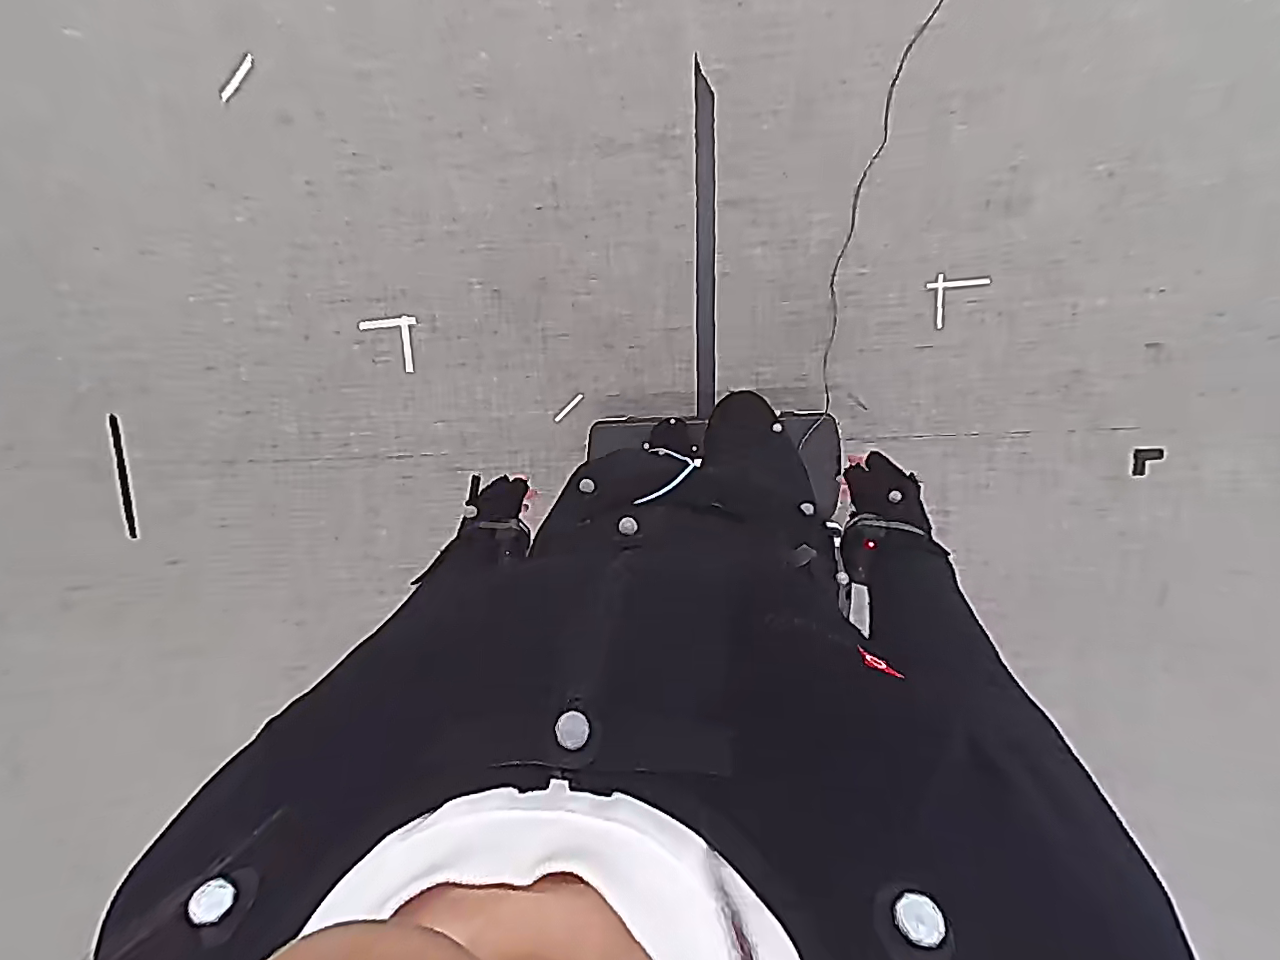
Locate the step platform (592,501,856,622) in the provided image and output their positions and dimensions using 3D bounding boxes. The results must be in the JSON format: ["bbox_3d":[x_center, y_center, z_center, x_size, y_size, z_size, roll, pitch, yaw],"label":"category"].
[{"bbox_3d":[0.214,0.220,1.448,0.684,0.204,0.286,-2,96,7],"label":"step platform"}]
